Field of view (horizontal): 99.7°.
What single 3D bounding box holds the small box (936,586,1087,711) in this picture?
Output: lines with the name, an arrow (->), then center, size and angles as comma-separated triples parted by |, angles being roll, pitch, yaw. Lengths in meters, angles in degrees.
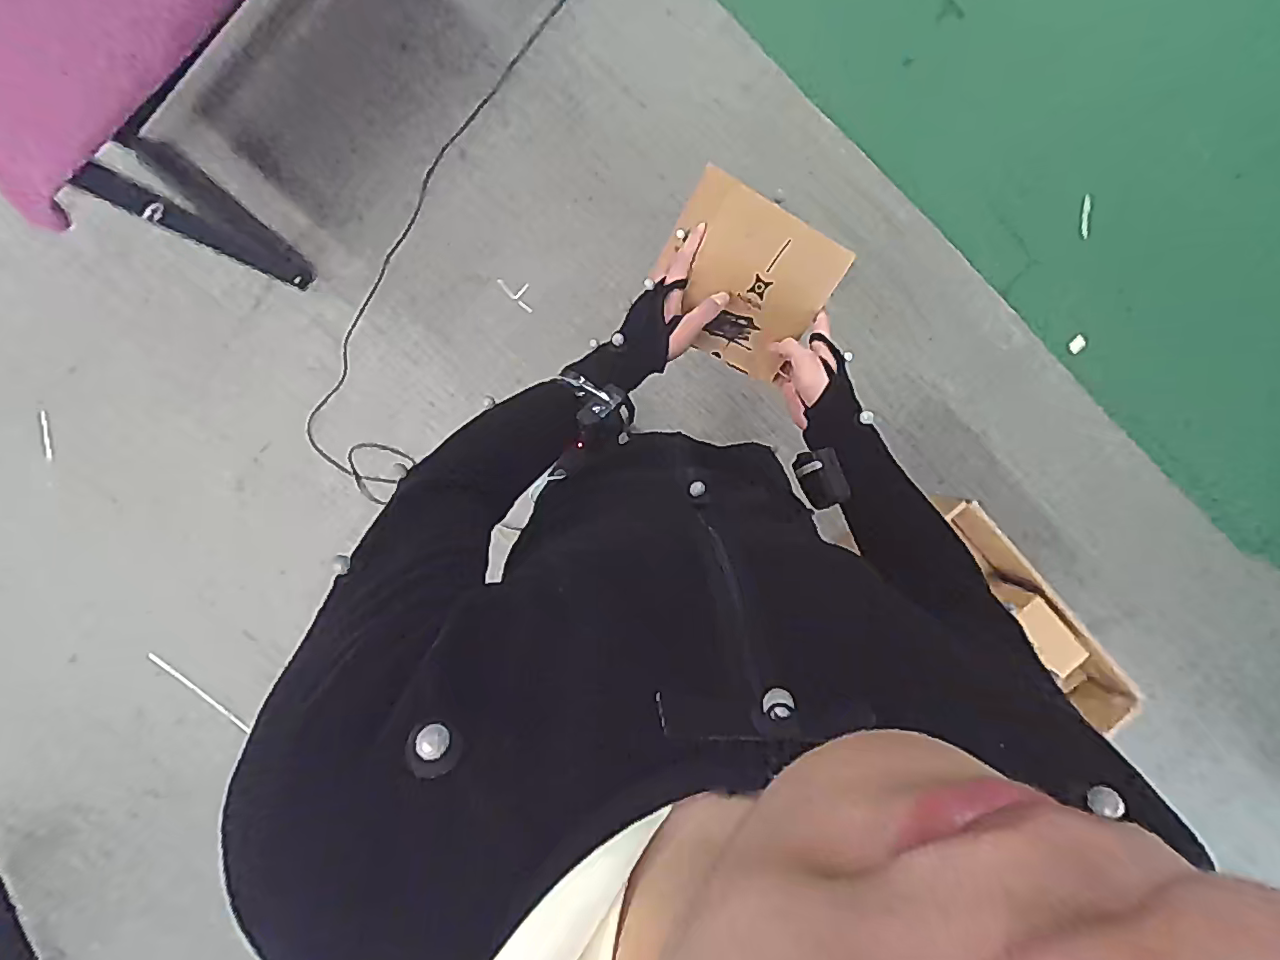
small box -> 0.793, 0.352, 1.176 | 0.168, 0.176, 0.179 | -42, 95, 3

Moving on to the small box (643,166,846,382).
small box -> 0.113, -0.258, 0.674 | 0.168, 0.176, 0.179 | 20, 121, -20
